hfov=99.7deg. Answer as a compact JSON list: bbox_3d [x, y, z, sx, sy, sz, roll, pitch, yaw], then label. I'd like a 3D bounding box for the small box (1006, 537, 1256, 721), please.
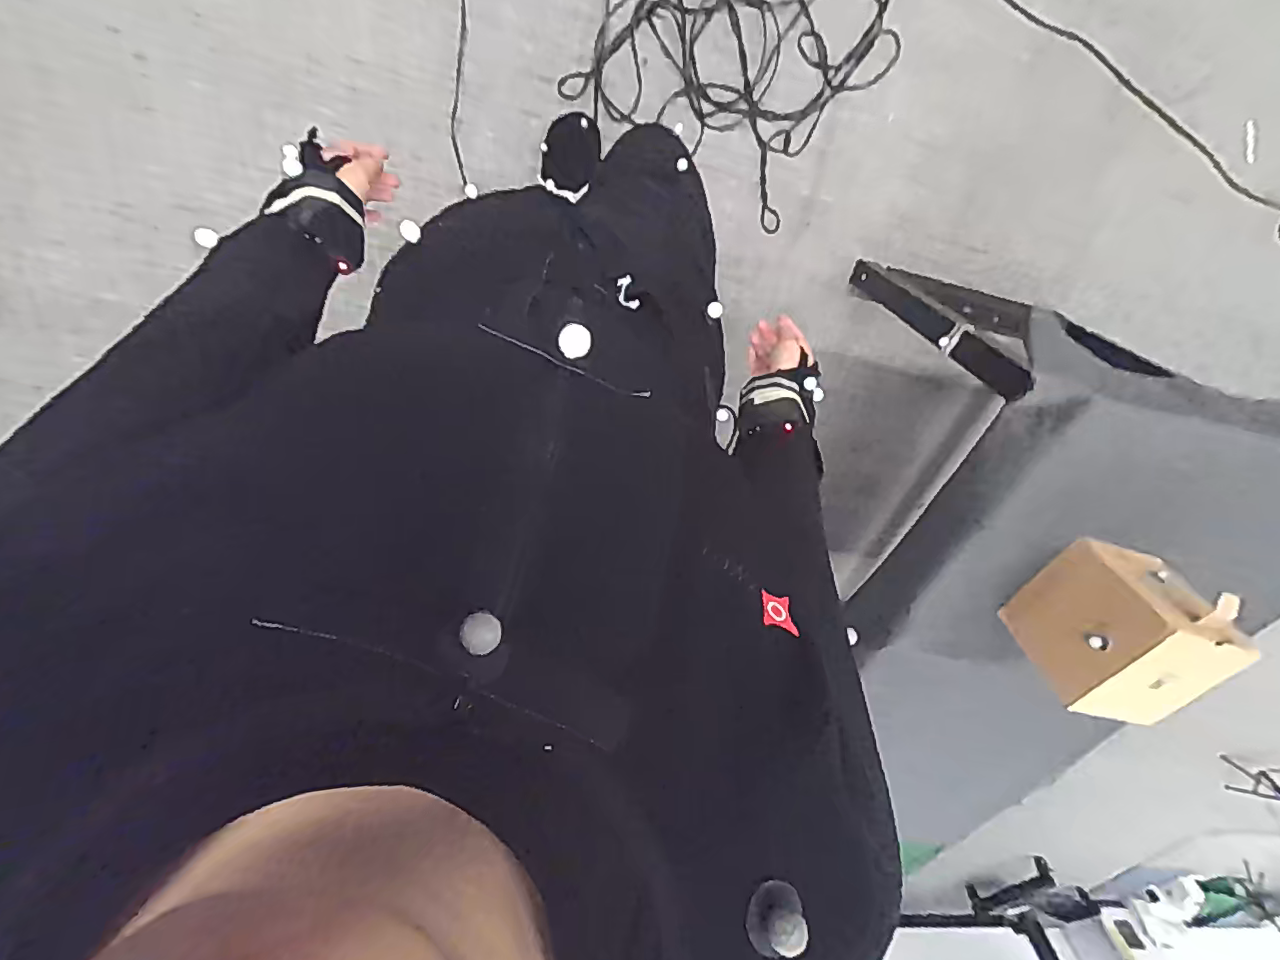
[{"bbox_3d":[0.675,0.213,0.776,0.168,0.176,0.179,15,123,-15],"label":"small box"}]
